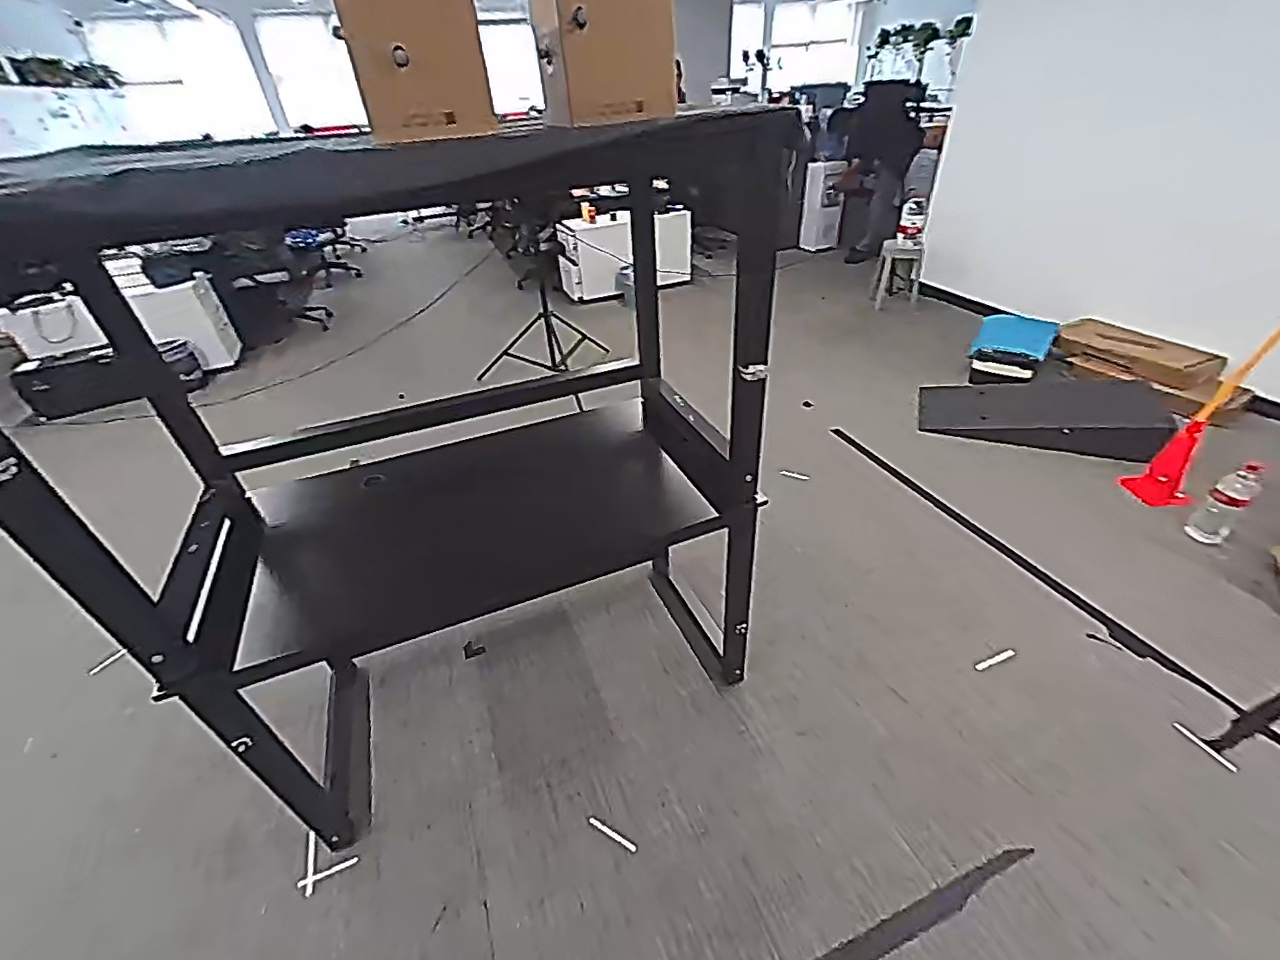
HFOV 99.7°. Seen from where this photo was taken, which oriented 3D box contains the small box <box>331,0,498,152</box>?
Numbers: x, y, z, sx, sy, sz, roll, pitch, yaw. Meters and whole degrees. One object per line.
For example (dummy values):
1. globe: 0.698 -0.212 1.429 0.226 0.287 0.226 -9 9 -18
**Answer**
1. small box: -0.302 -0.563 0.751 0.168 0.176 0.179 -14 36 -13
